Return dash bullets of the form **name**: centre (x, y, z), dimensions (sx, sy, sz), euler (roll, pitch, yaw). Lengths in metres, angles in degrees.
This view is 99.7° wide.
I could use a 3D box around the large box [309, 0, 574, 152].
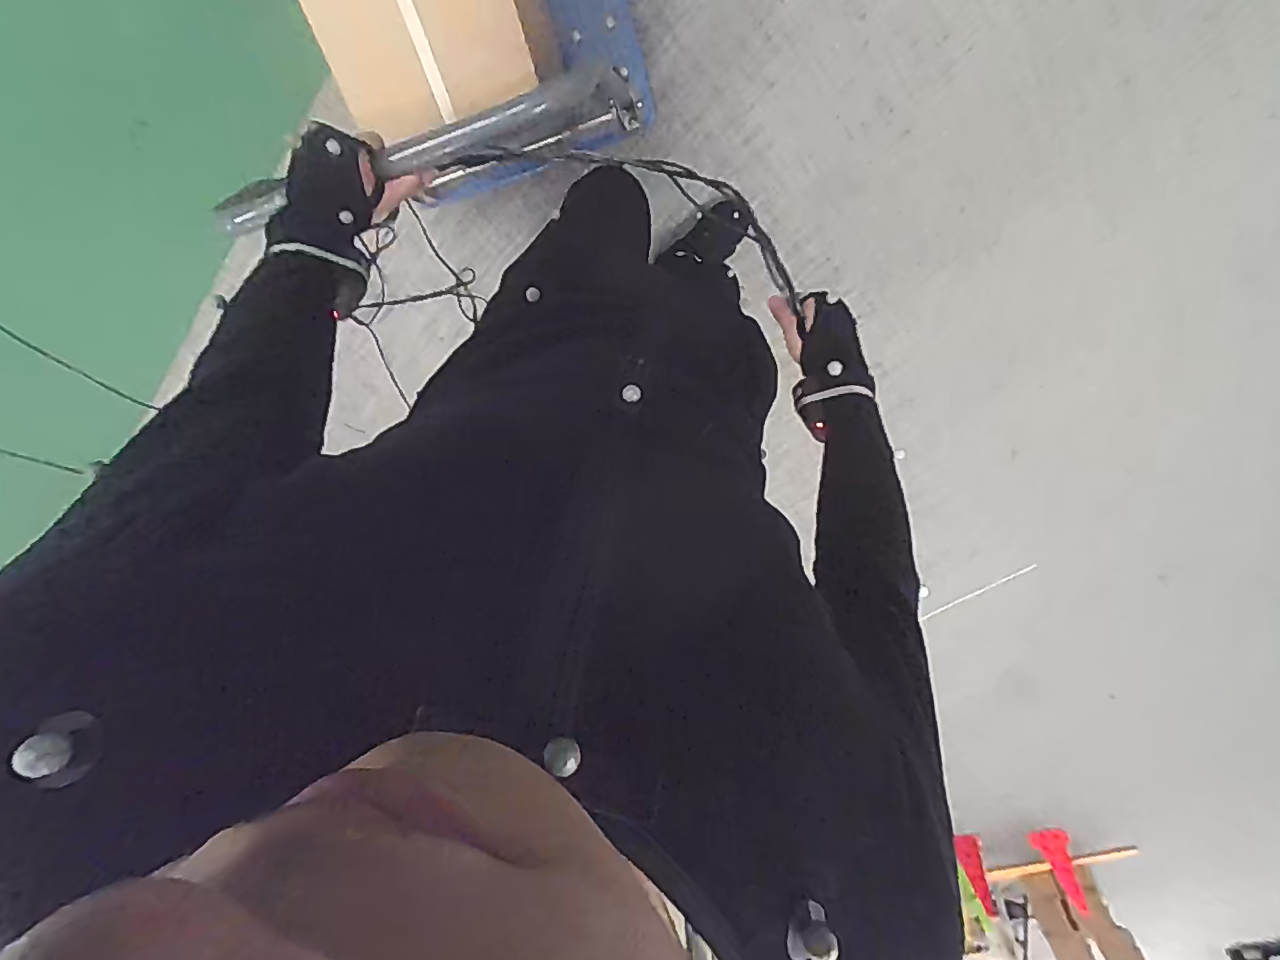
- **large box**: centre (-0.338, -0.824, 0.905), dimensions (0.320, 0.320, 0.408), euler (-11, 122, 10)
